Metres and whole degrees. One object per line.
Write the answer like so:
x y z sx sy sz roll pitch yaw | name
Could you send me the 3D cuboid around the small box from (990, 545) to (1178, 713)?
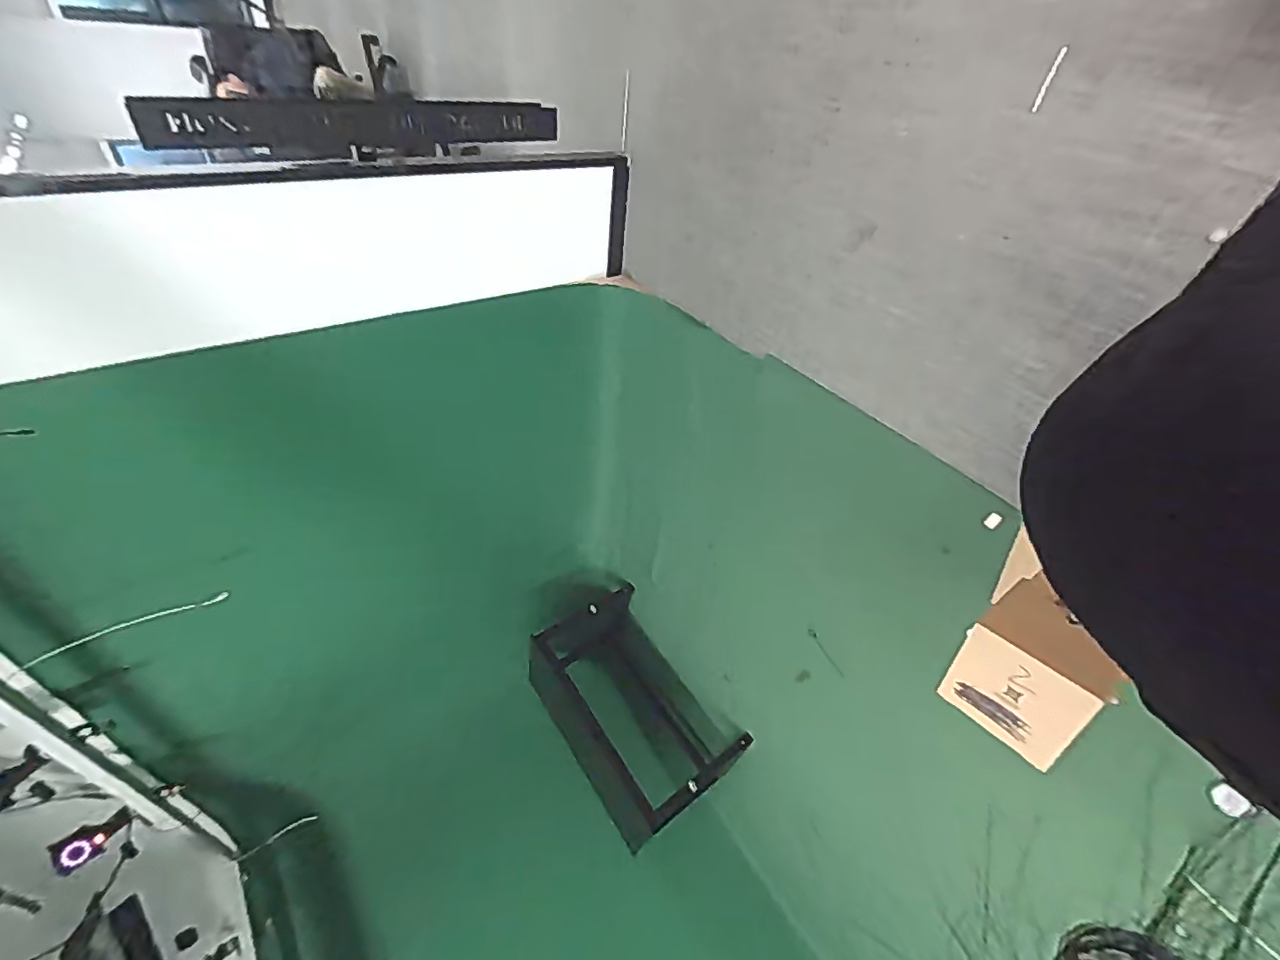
0.742 0.242 0.907 0.168 0.176 0.179 38 138 39 | small box
